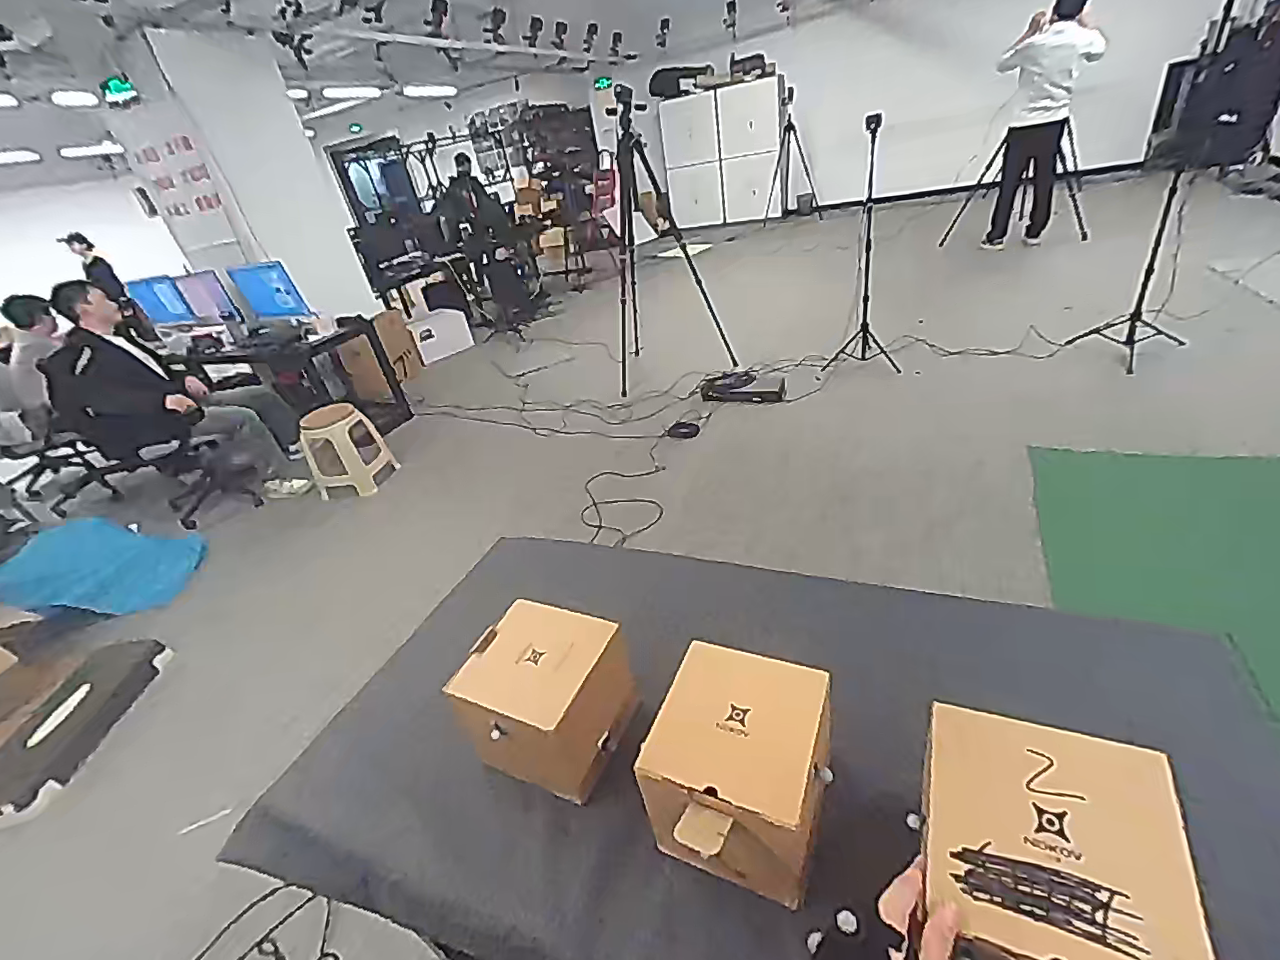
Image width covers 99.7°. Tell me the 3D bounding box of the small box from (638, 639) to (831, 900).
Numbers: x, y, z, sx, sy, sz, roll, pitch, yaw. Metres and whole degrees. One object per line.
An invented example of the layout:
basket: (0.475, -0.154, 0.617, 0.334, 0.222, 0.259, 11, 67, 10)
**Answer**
small box: (0.116, 0.320, 0.615, 0.168, 0.176, 0.179, 6, 36, 26)

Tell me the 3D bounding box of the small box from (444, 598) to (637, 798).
small box: (-0.124, 0.292, 0.737, 0.179, 0.176, 0.168, 8, 37, 27)
